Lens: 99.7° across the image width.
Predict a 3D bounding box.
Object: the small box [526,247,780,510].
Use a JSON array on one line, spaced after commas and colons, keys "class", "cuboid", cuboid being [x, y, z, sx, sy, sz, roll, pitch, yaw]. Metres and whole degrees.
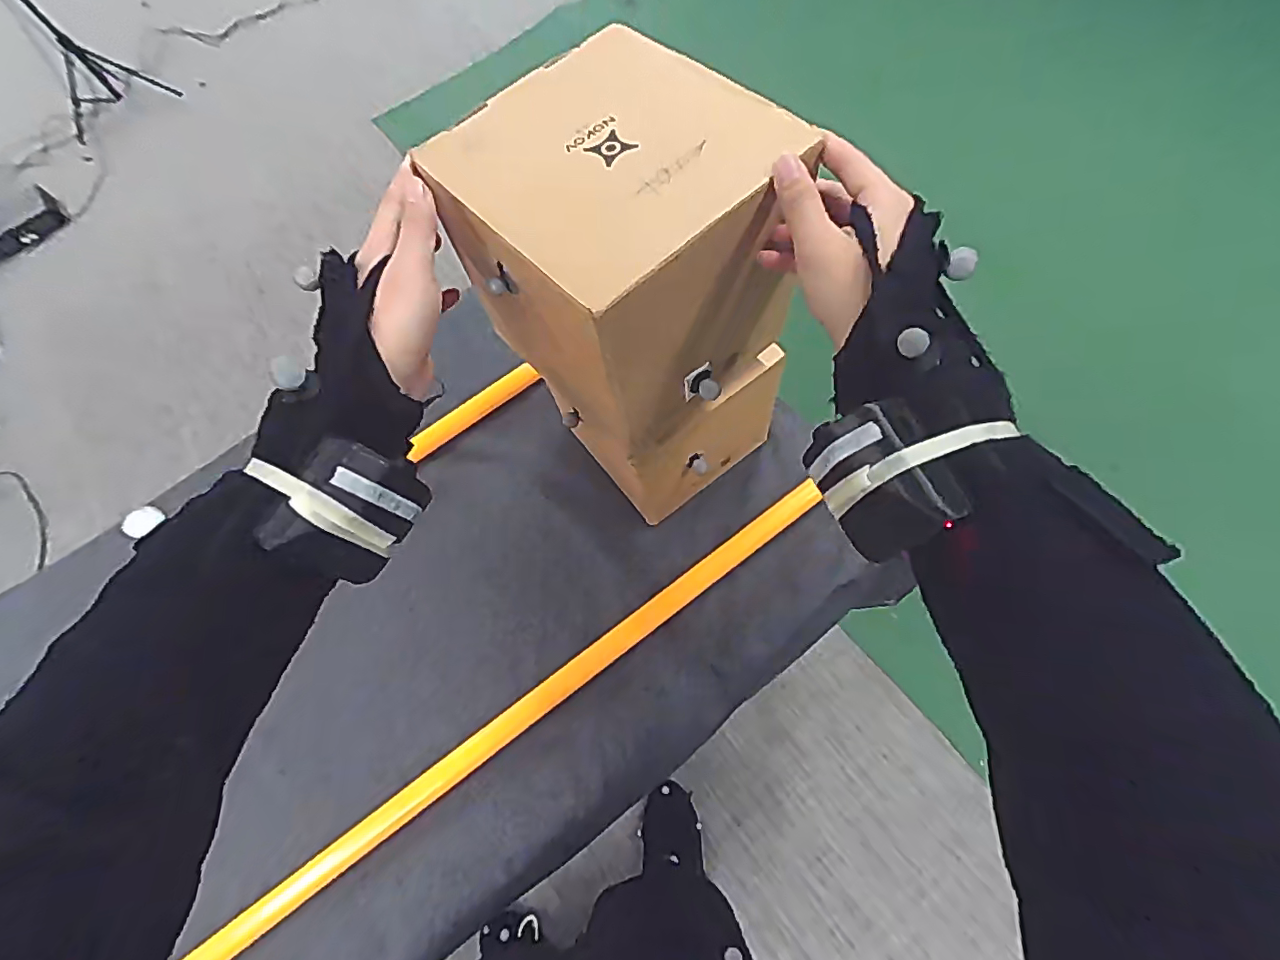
[{"class": "small box", "cuboid": [0.018, -0.089, 0.554, 0.168, 0.176, 0.179, -37, 67, -8]}]
